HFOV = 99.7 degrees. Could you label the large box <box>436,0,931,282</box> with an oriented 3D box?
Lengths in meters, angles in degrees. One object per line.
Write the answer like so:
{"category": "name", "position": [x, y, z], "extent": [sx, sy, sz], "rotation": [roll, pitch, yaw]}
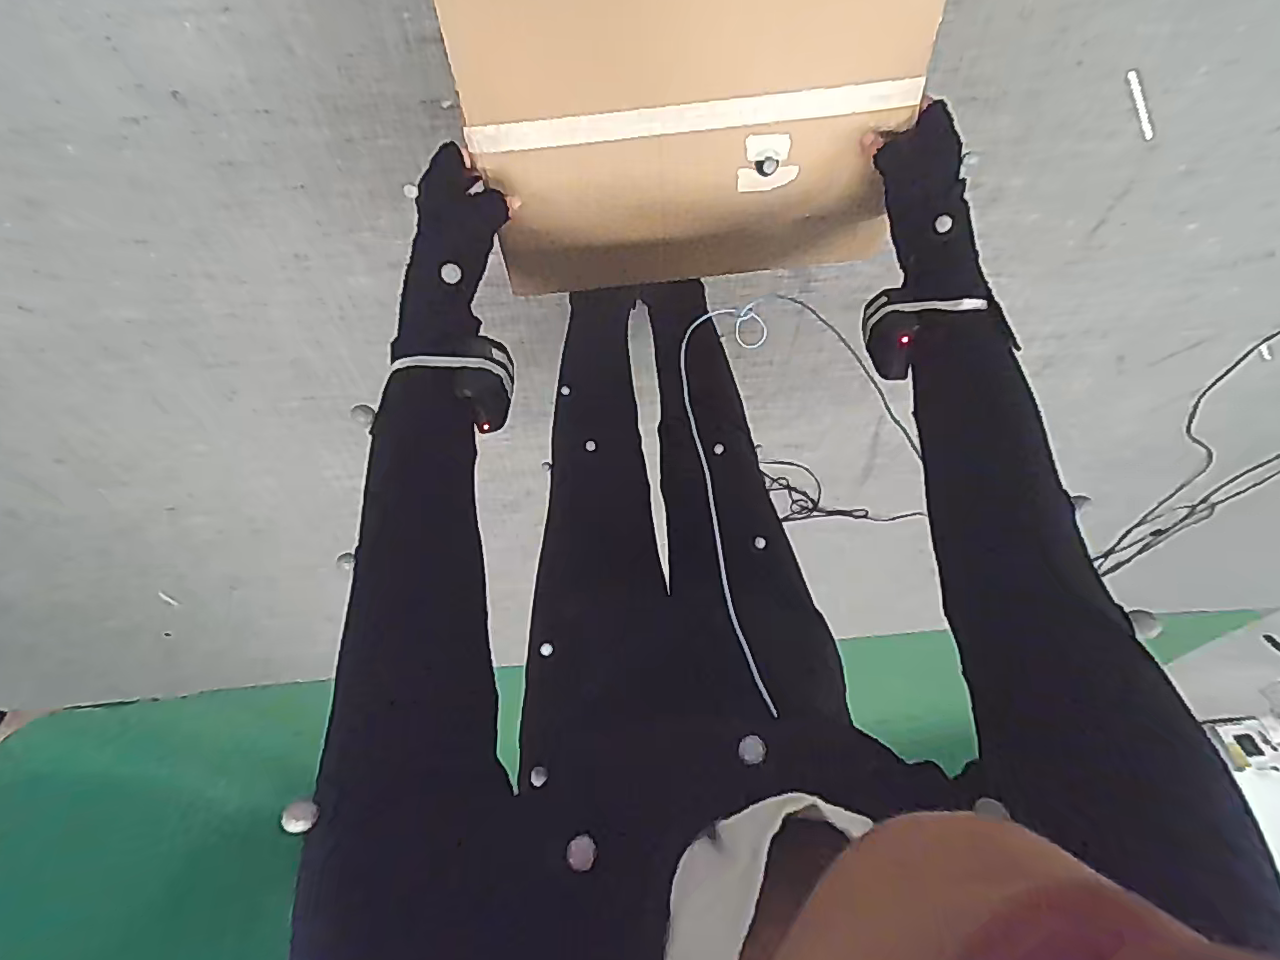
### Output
{"category": "large box", "position": [0.030, -0.453, 0.578], "extent": [0.408, 0.320, 0.320], "rotation": [-7, 140, -1]}
